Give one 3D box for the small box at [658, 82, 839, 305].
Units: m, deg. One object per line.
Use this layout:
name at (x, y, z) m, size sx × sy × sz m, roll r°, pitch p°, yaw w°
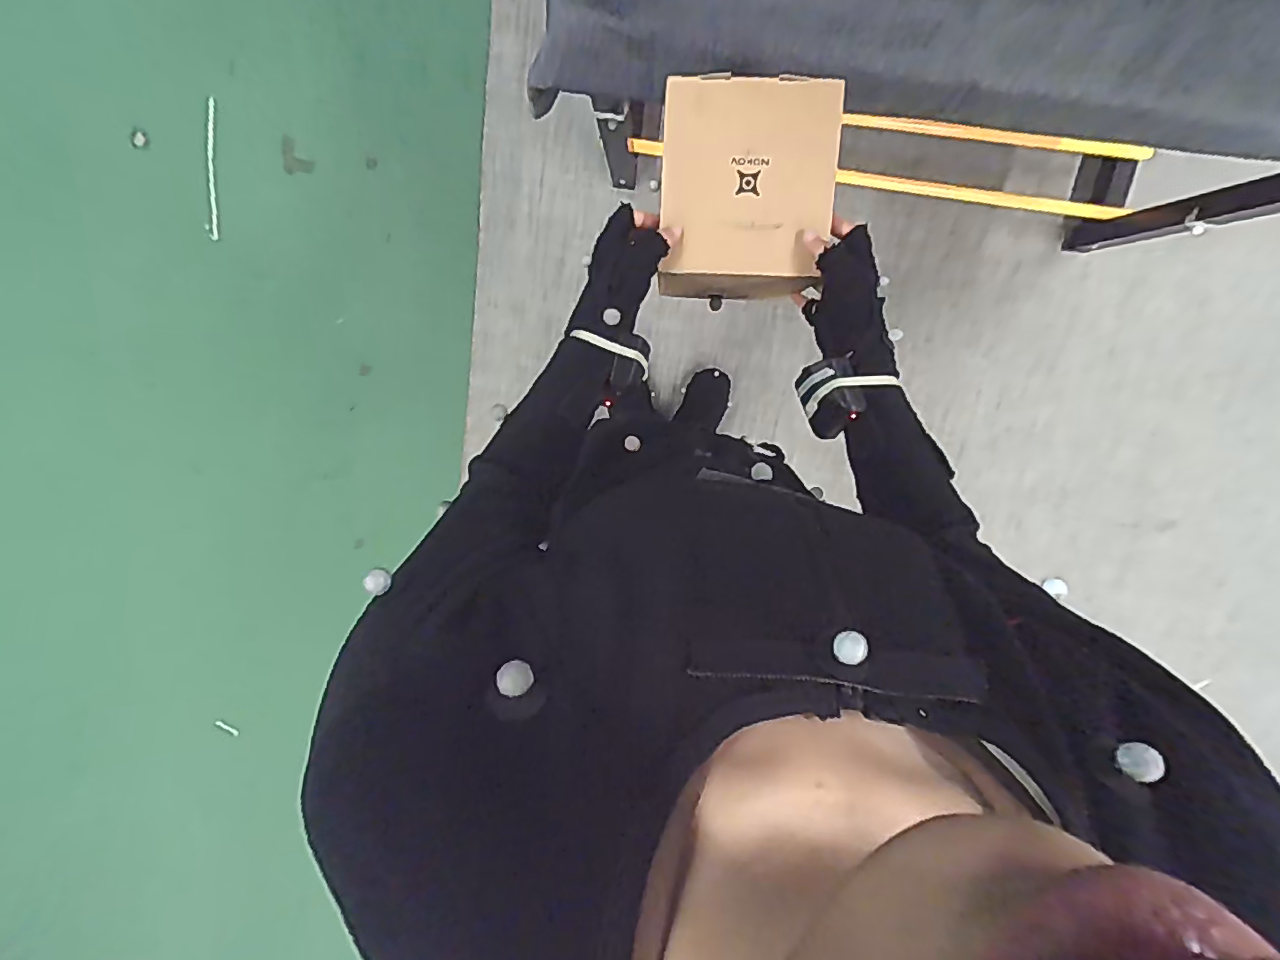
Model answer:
small box at (0.106, -0.300, 0.601) m, size 0.168 × 0.176 × 0.179 m, roll 3°, pitch 101°, yaw 3°
